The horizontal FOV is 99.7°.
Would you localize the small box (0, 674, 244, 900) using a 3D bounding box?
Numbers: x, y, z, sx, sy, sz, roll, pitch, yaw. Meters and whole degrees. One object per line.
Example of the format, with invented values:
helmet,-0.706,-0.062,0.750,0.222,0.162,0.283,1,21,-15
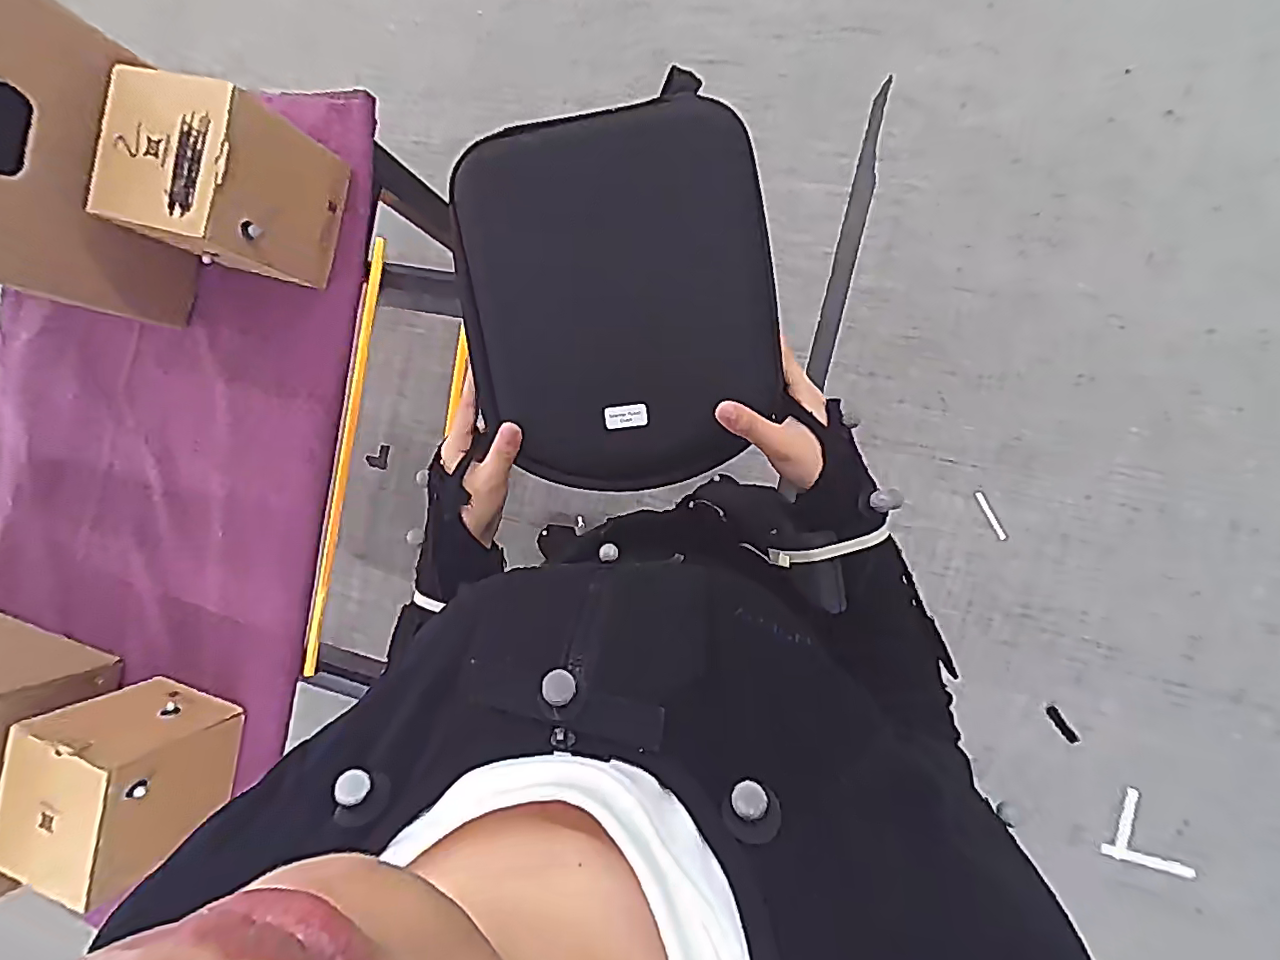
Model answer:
small box,-0.673,0.388,0.719,0.168,0.176,0.179,12,92,13
